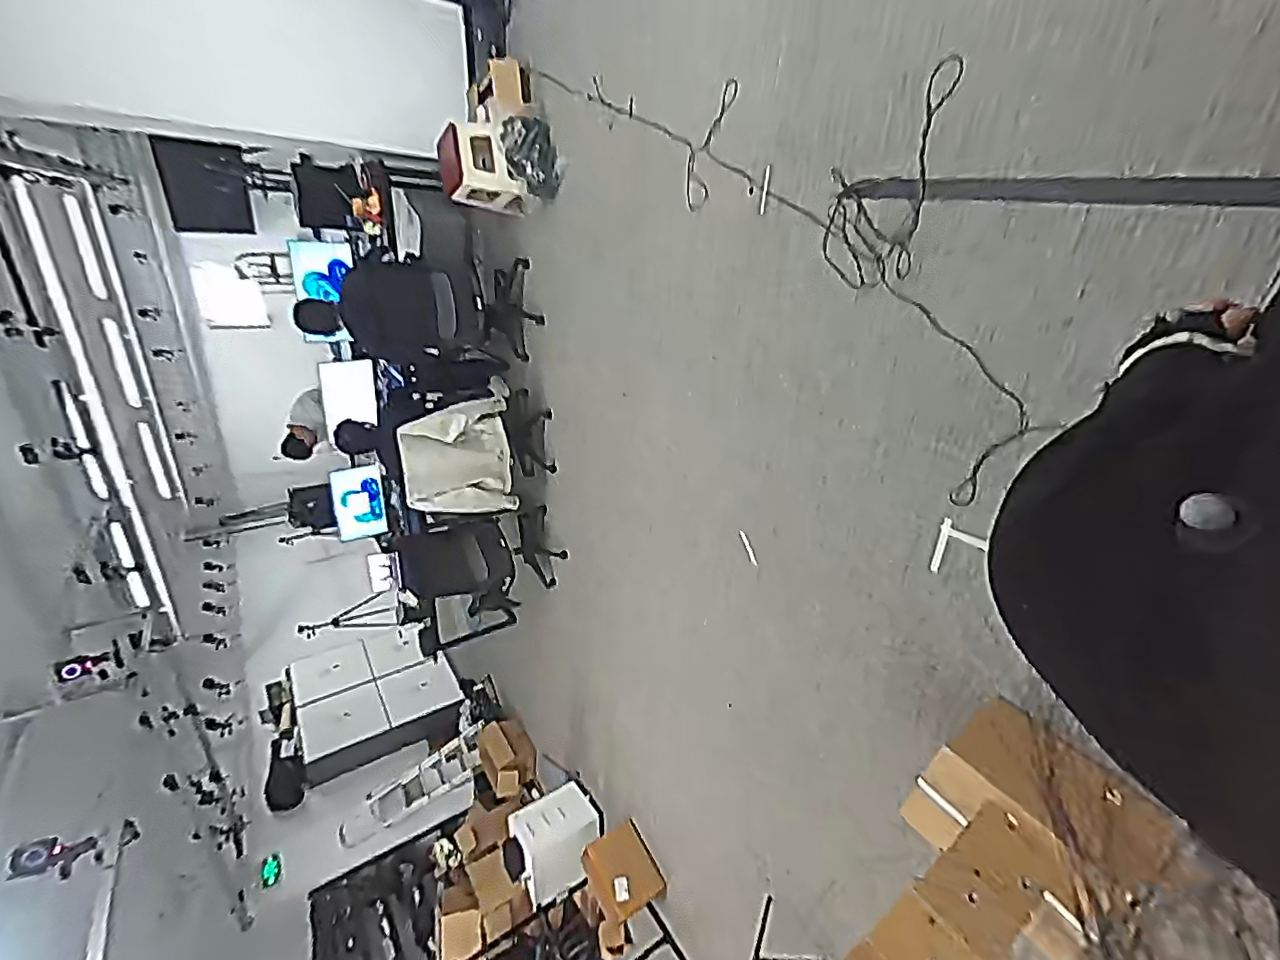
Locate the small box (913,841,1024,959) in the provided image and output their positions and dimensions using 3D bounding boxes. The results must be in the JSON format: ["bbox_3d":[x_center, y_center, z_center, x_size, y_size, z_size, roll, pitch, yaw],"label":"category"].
[{"bbox_3d":[0.661,0.908,1.129,0.168,0.176,0.179,39,131,43],"label":"small box"}]

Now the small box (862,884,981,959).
[{"bbox_3d":[0.527,0.937,1.041,0.168,0.176,0.179,36,131,44],"label":"small box"}]
